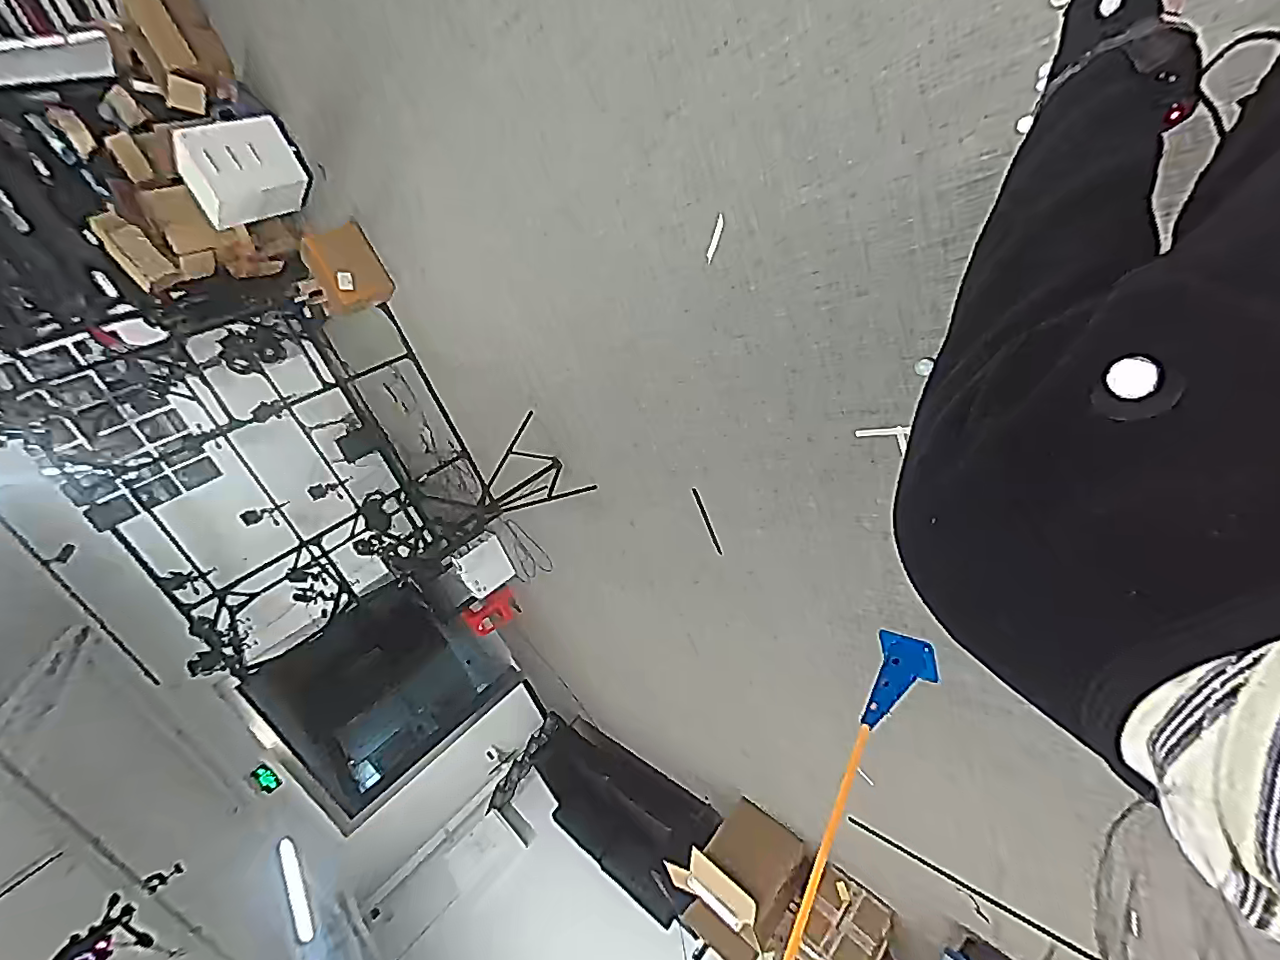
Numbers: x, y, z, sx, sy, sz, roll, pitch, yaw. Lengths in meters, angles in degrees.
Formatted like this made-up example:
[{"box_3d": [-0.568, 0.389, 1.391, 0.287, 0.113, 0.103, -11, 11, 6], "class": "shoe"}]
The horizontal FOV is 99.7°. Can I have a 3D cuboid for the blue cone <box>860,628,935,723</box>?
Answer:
[{"box_3d": [0.899, 0.735, 1.953, 0.193, 0.380, 0.192, 9, 127, 49], "class": "blue cone"}]
